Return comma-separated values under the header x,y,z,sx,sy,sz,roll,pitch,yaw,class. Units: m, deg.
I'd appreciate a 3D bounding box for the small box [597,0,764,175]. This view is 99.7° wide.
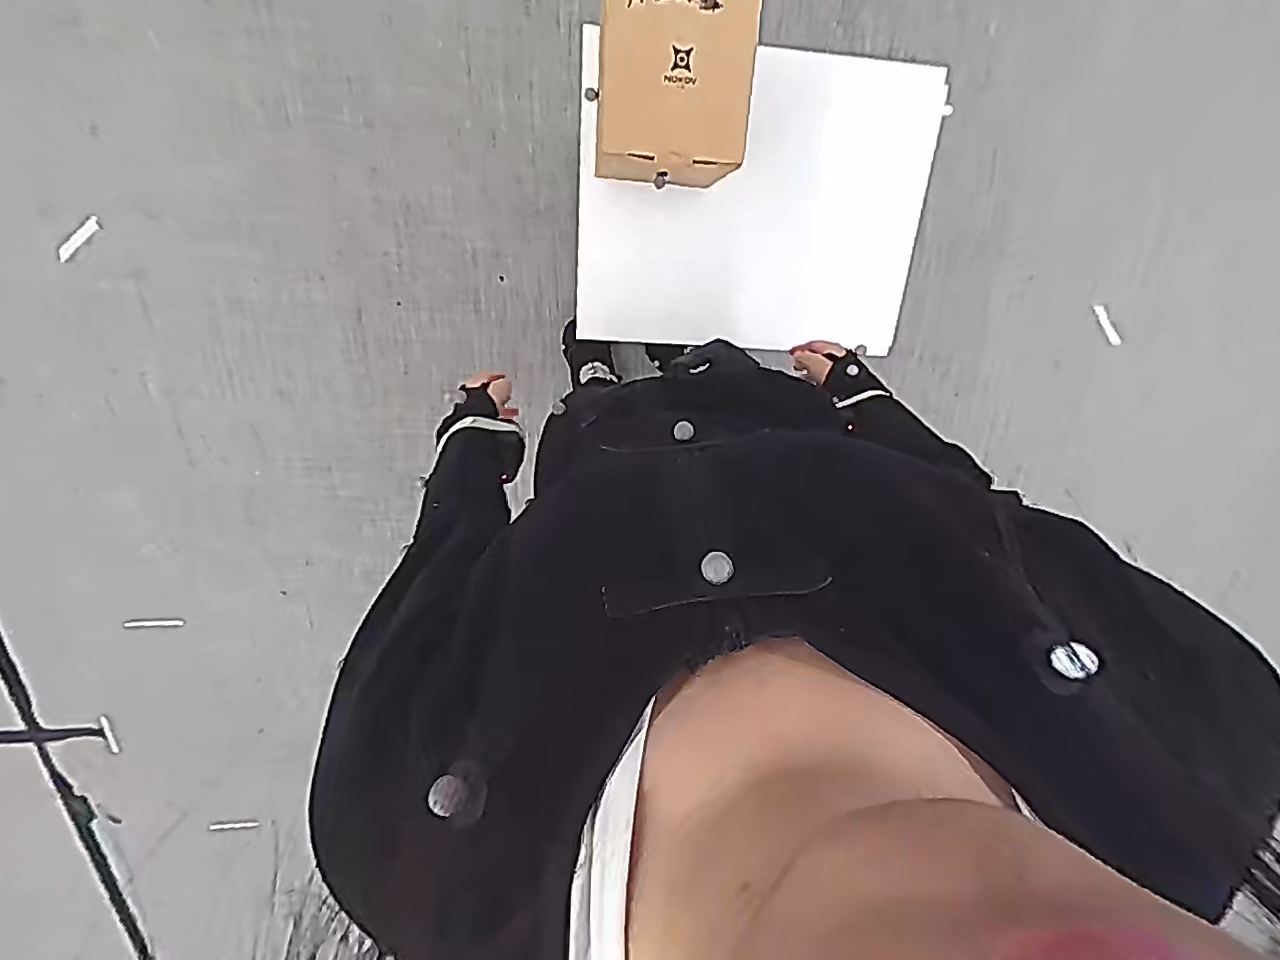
x,y,z,sx,sy,sz,roll,pitch,yaw,class
0.037,-0.480,0.653,0.168,0.176,0.179,1,112,-8,small box
